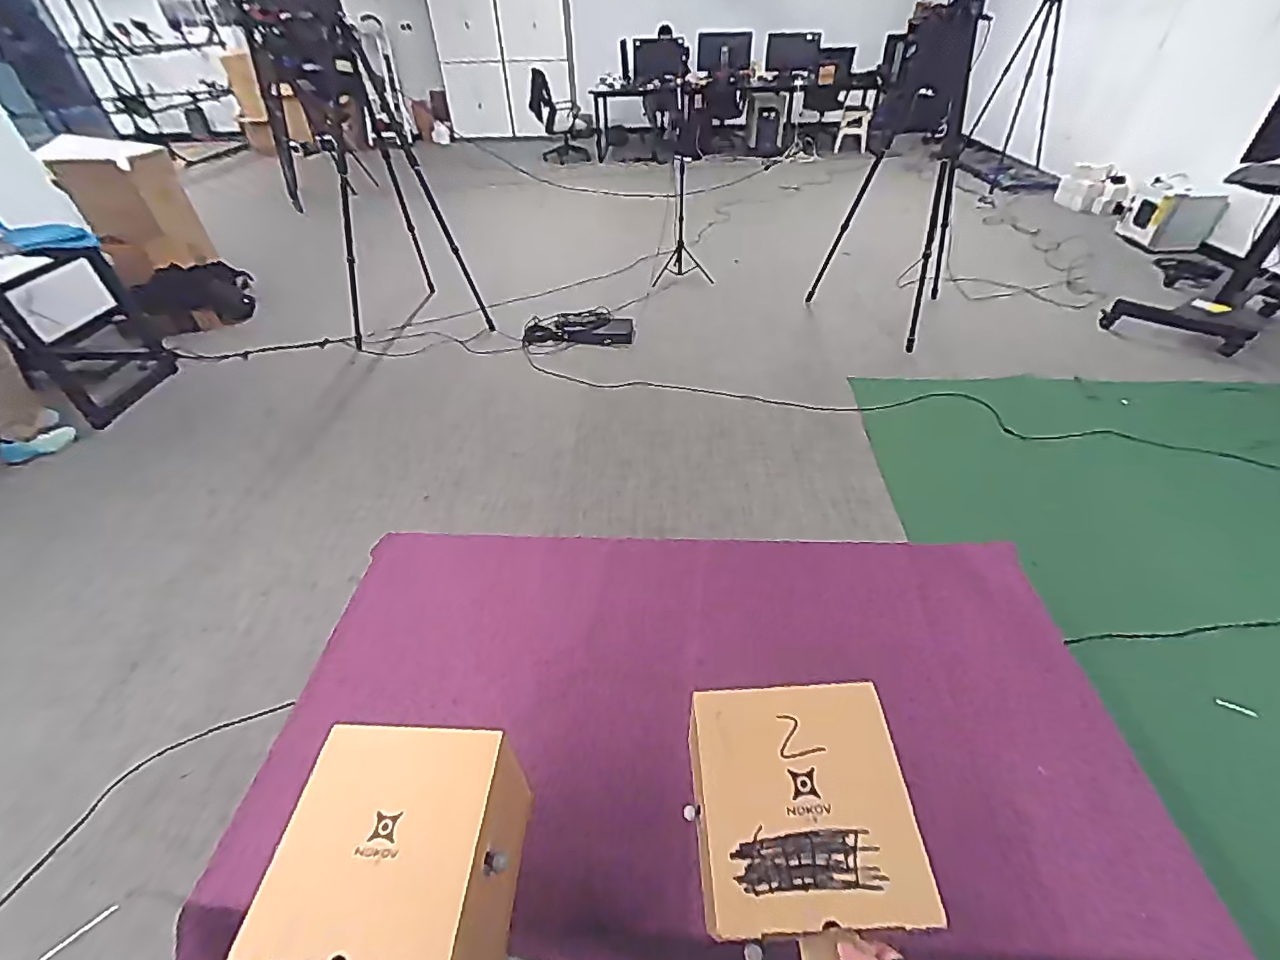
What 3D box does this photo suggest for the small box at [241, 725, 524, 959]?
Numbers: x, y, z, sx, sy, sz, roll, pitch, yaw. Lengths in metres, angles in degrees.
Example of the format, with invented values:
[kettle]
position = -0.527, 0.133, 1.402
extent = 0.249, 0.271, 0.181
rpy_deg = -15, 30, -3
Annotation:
[small box]
position = -0.215, 0.360, 0.516
extent = 0.168, 0.176, 0.179
rpy_deg = 1, 43, 3
